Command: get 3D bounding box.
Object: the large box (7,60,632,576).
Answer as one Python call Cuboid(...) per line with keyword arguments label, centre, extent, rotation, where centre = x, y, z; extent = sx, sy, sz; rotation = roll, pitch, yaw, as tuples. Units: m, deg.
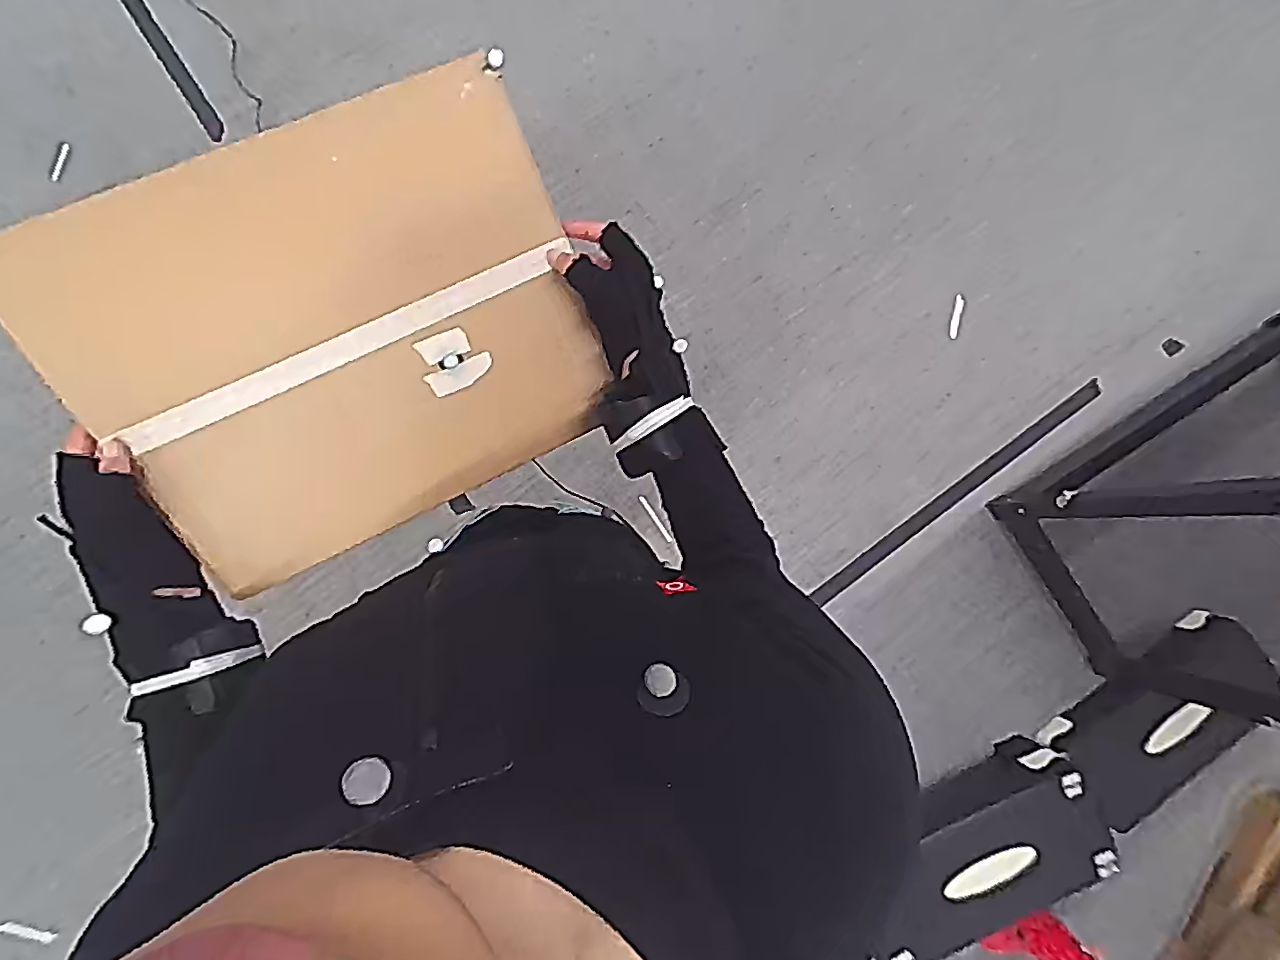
Cuboid(label="large box", centre=(-0.278, -0.165, 0.610), extent=(0.408, 0.320, 0.320), rotation=(-27, 111, -7))
